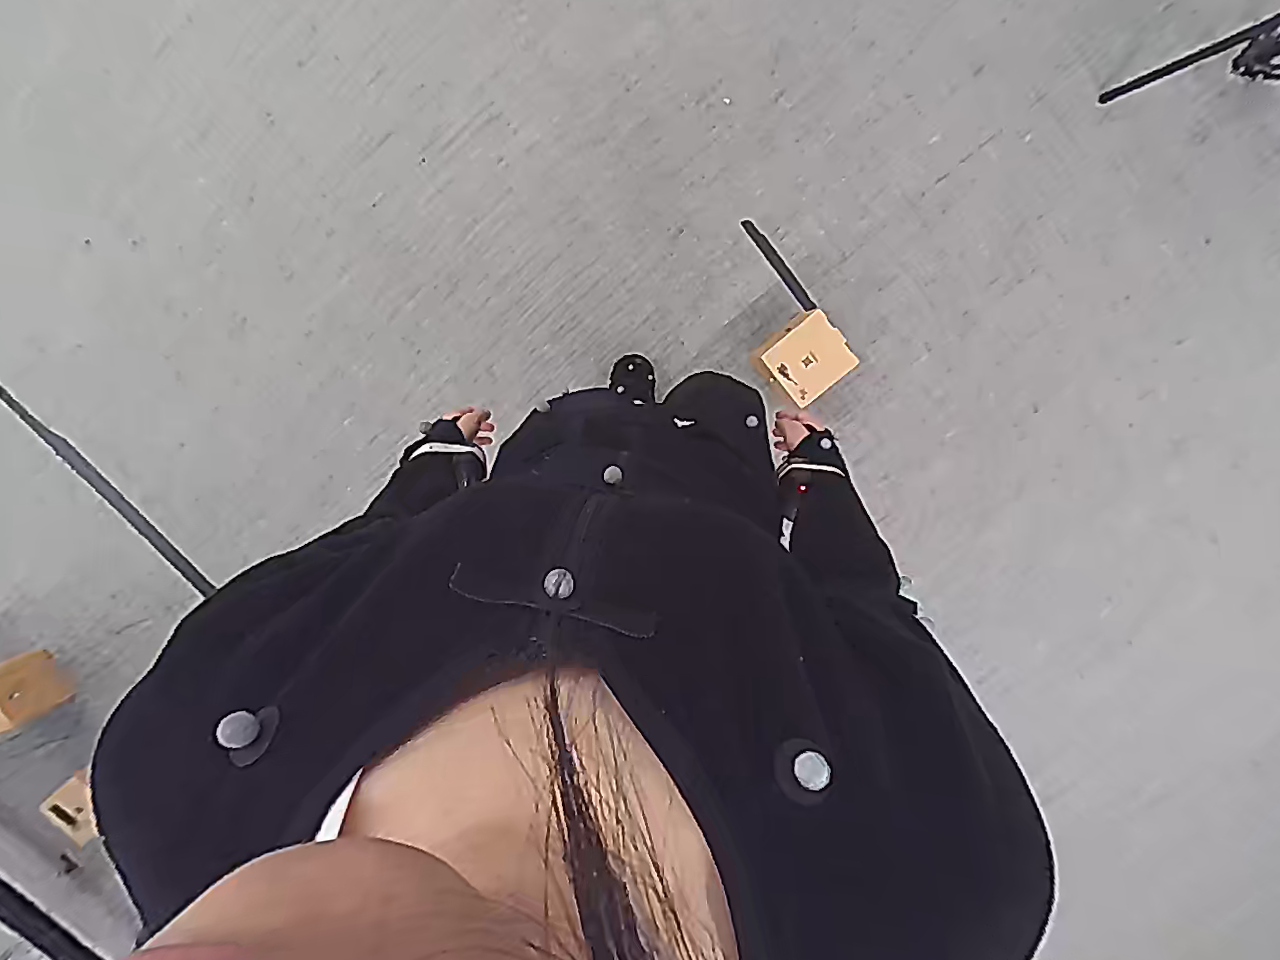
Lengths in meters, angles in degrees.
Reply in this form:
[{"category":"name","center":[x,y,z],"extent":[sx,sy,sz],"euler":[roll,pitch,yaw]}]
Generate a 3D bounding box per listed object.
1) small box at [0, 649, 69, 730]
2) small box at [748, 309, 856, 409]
[{"category":"small box","center":[-1.855,0.618,1.573],"extent":[0.168,0.176,0.179],"euler":[-21,103,4]},{"category":"small box","center":[0.396,-0.302,1.354],"extent":[0.179,0.176,0.168],"euler":[-40,100,7]}]
